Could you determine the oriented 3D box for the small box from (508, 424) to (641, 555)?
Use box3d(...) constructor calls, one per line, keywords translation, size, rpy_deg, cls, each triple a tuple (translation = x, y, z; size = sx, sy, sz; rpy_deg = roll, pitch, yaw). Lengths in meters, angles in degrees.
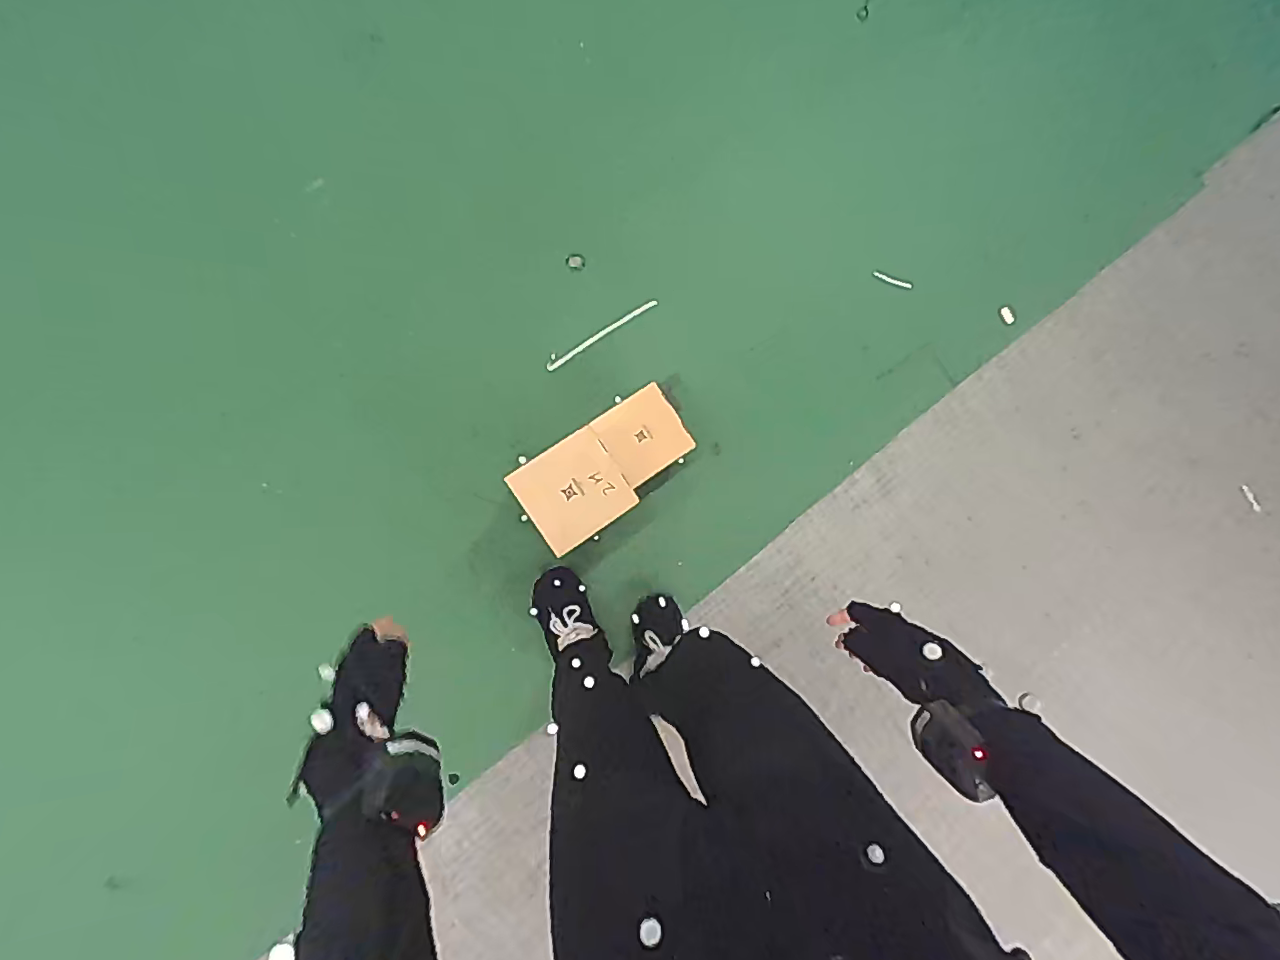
box3d(translation=(-0.124, 0.020, 1.005), size=(0.179, 0.176, 0.168), rpy_deg=(-34, 95, -11), cls="small box")
